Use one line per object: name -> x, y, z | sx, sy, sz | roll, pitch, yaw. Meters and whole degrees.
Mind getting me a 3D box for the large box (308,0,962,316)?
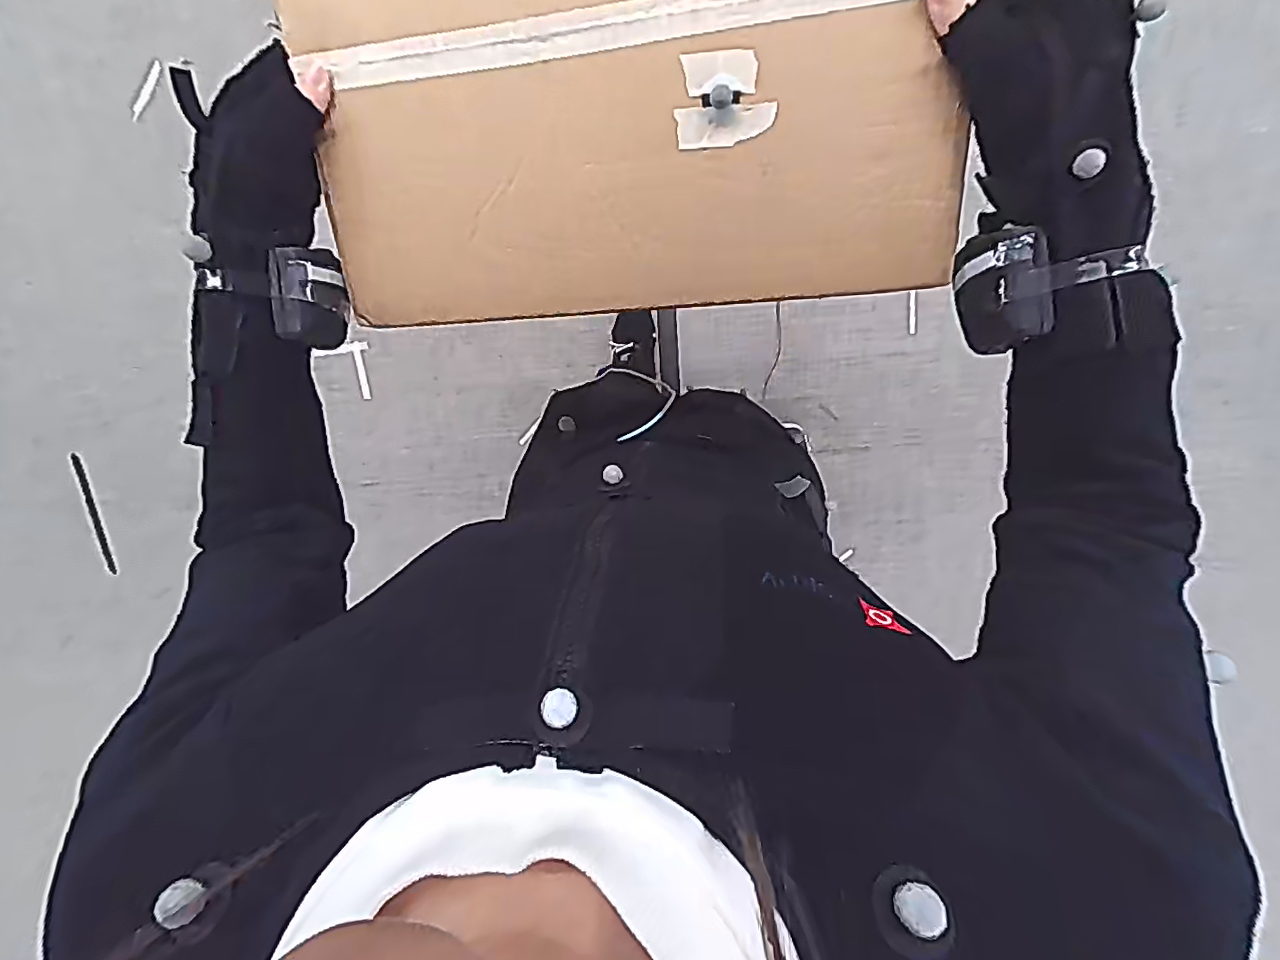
large box -> 0.004, -0.327, 0.468 | 0.408, 0.320, 0.320 | -2, 111, 9
